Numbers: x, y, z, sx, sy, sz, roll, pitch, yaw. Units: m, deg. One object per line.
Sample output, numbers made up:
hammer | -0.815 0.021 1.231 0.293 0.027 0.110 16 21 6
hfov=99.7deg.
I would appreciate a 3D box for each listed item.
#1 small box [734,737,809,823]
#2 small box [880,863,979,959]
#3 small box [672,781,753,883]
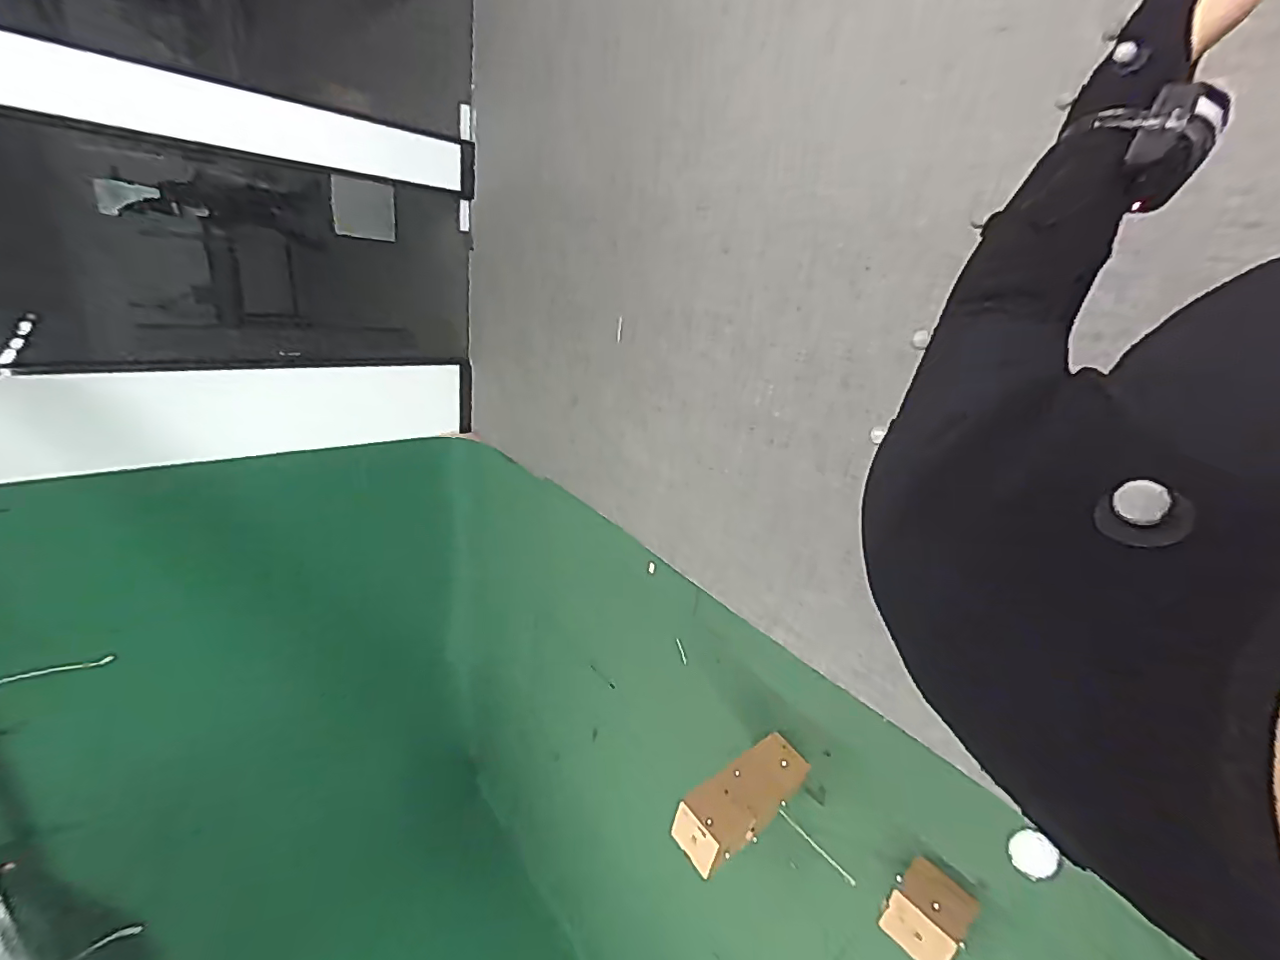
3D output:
small box | 0.469 1.053 1.911 0.168 0.176 0.179 39 126 38
small box | 0.825 1.250 1.536 0.179 0.176 0.168 29 119 42
small box | 0.228 1.093 1.691 0.168 0.176 0.179 35 124 41
